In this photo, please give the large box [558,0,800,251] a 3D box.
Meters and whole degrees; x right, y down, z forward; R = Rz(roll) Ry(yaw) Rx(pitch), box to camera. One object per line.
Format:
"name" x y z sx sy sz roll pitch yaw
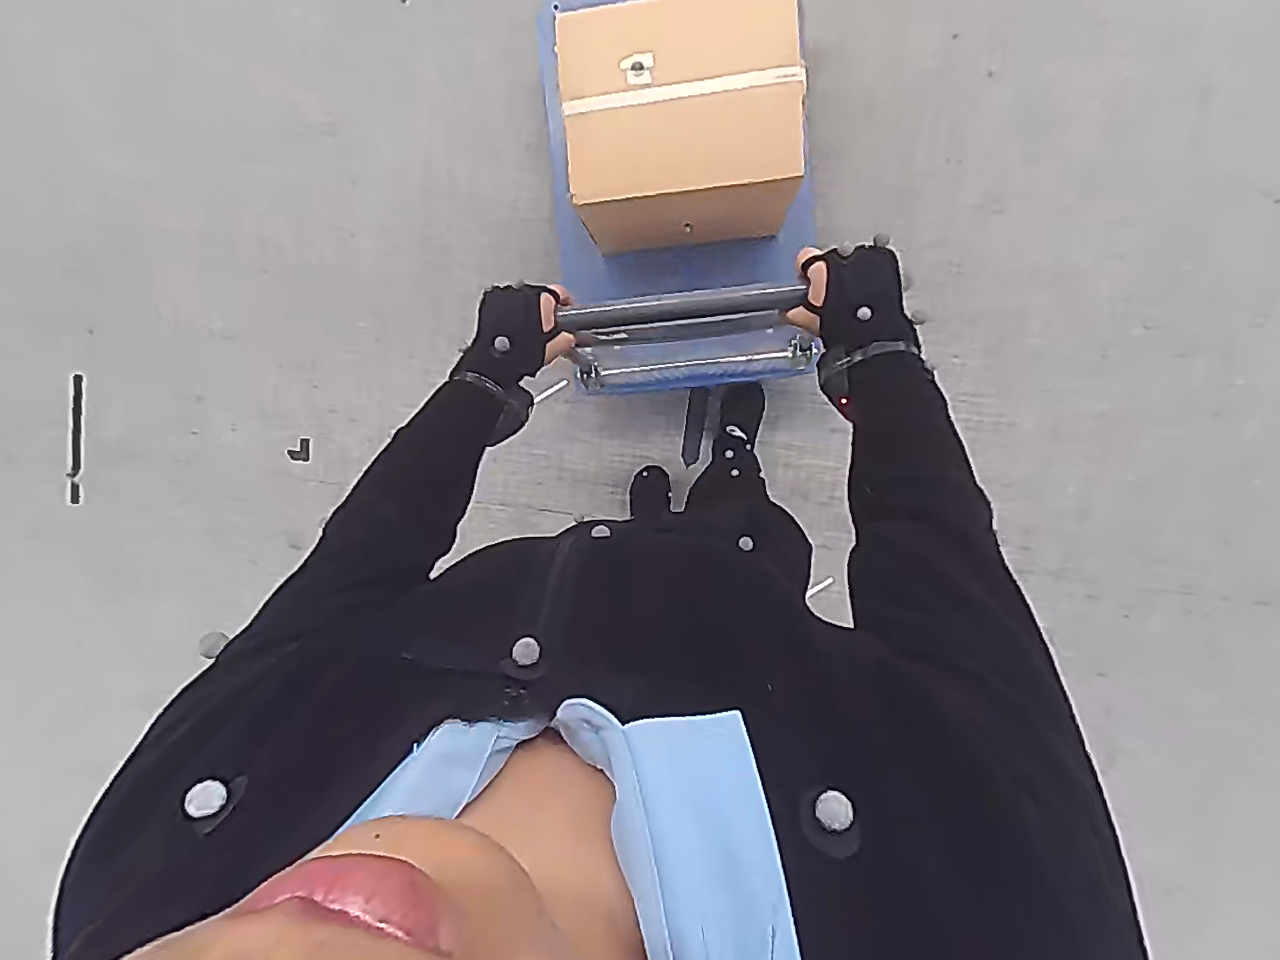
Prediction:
"large box" 0.084 -0.681 1.083 0.408 0.320 0.320 -4 96 8
